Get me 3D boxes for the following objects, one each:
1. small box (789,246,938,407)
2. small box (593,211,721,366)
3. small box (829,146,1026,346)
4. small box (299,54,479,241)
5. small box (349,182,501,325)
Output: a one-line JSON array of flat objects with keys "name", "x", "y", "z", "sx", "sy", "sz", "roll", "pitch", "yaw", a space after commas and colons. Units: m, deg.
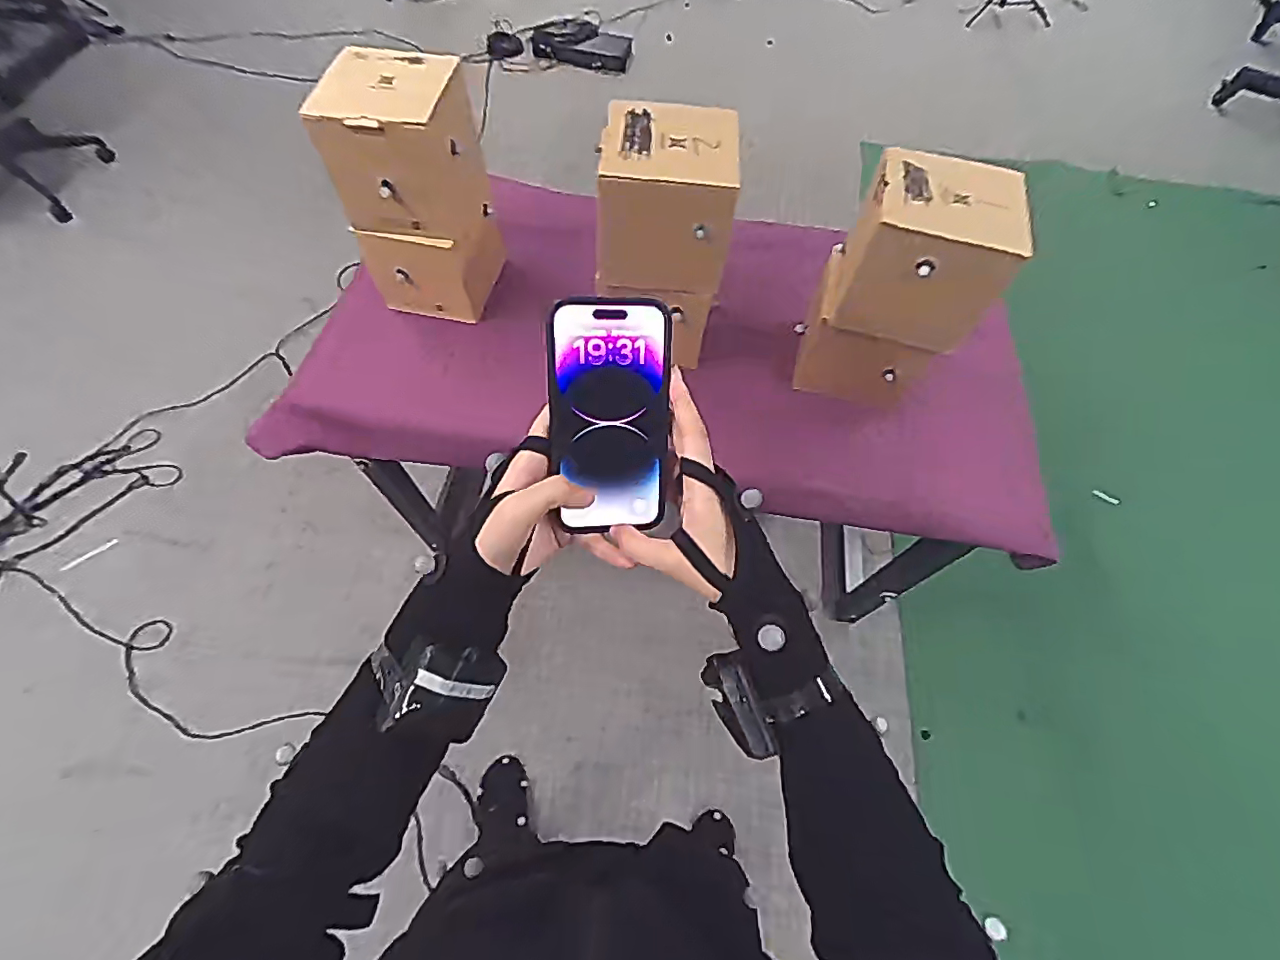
[{"name": "small box", "x": 0.359, "y": -0.241, "z": 0.875, "sx": 0.179, "sy": 0.176, "sz": 0.168, "roll": 15, "pitch": 62, "yaw": 7}, {"name": "small box", "x": 0.027, "y": -0.311, "z": 0.900, "sx": 0.179, "sy": 0.176, "sz": 0.168, "roll": 10, "pitch": 61, "yaw": 3}, {"name": "small box", "x": 0.370, "y": -0.305, "z": 0.724, "sx": 0.179, "sy": 0.176, "sz": 0.168, "roll": 15, "pitch": 62, "yaw": 6}, {"name": "small box", "x": -0.348, "y": -0.480, "z": 0.793, "sx": 0.168, "sy": 0.176, "sz": 0.179, "roll": 6, "pitch": 62, "yaw": 0}, {"name": "small box", "x": -0.354, "y": -0.394, "z": 0.933, "sx": 0.168, "sy": 0.176, "sz": 0.179, "roll": 10, "pitch": 61, "yaw": 4}]
